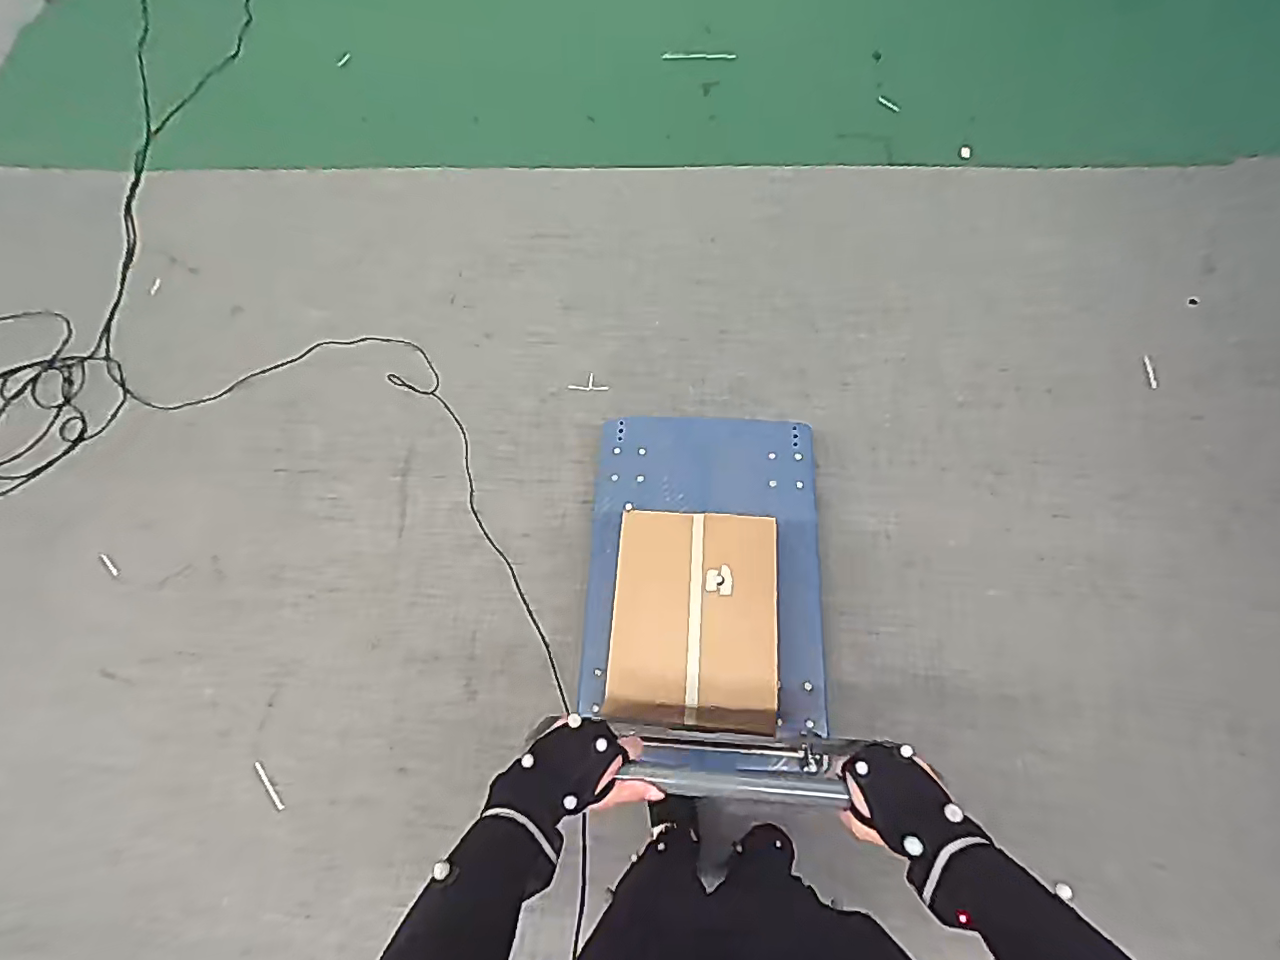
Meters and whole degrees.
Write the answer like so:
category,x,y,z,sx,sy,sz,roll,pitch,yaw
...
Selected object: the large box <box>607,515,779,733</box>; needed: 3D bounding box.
category,x,y,z,sx,sy,sz,roll,pitch,yaw
large box,0.114,0.319,1.176,0.320,0.320,0.408,3,67,5
